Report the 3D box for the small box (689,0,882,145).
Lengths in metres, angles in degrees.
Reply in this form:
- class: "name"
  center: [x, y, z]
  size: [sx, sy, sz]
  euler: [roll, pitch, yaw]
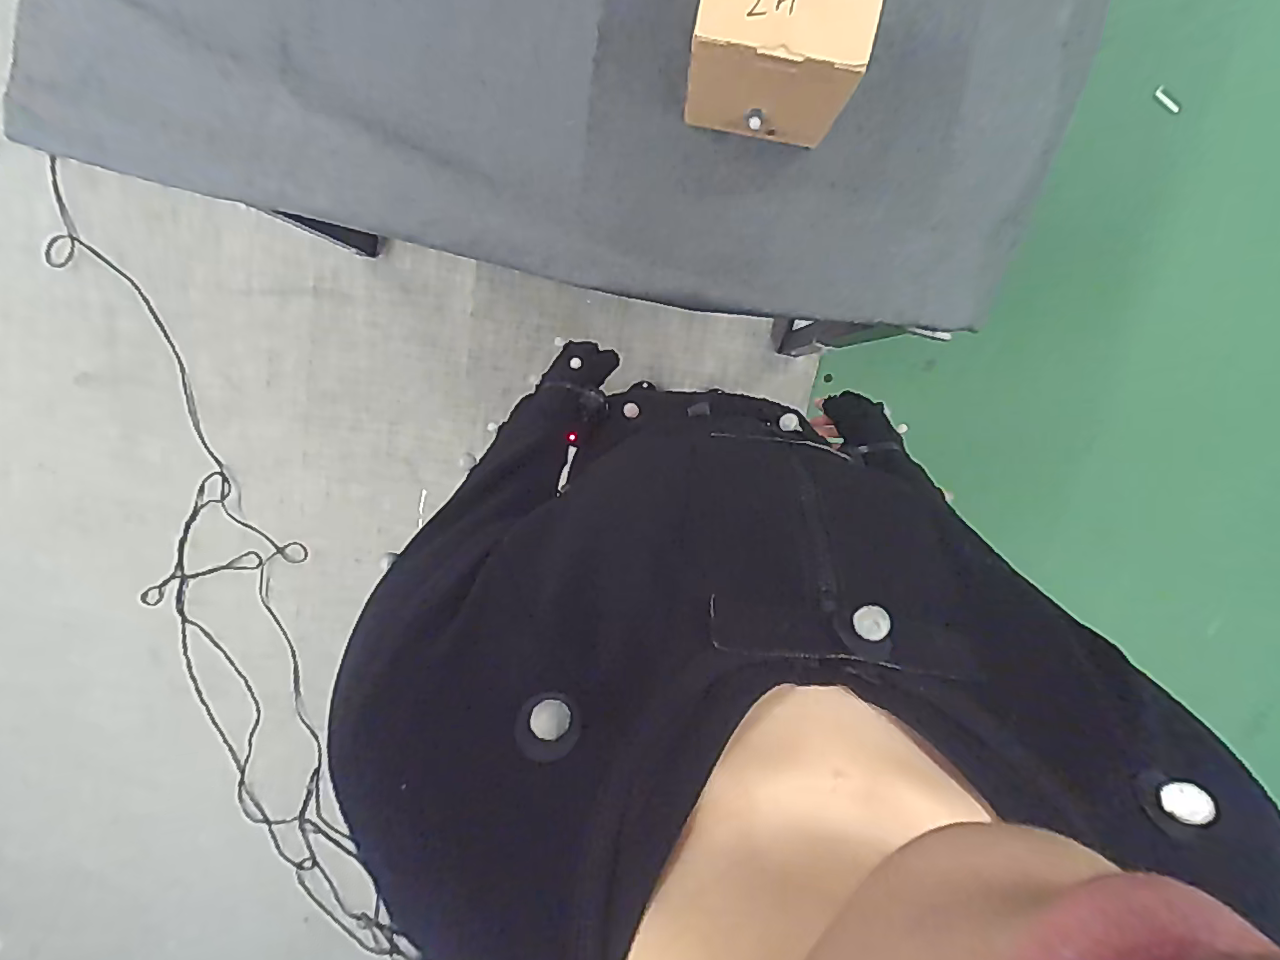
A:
- class: "small box"
  center: [0.149, -0.495, 0.567]
  size: [0.168, 0.176, 0.179]
  euler: [11, 99, 0]
